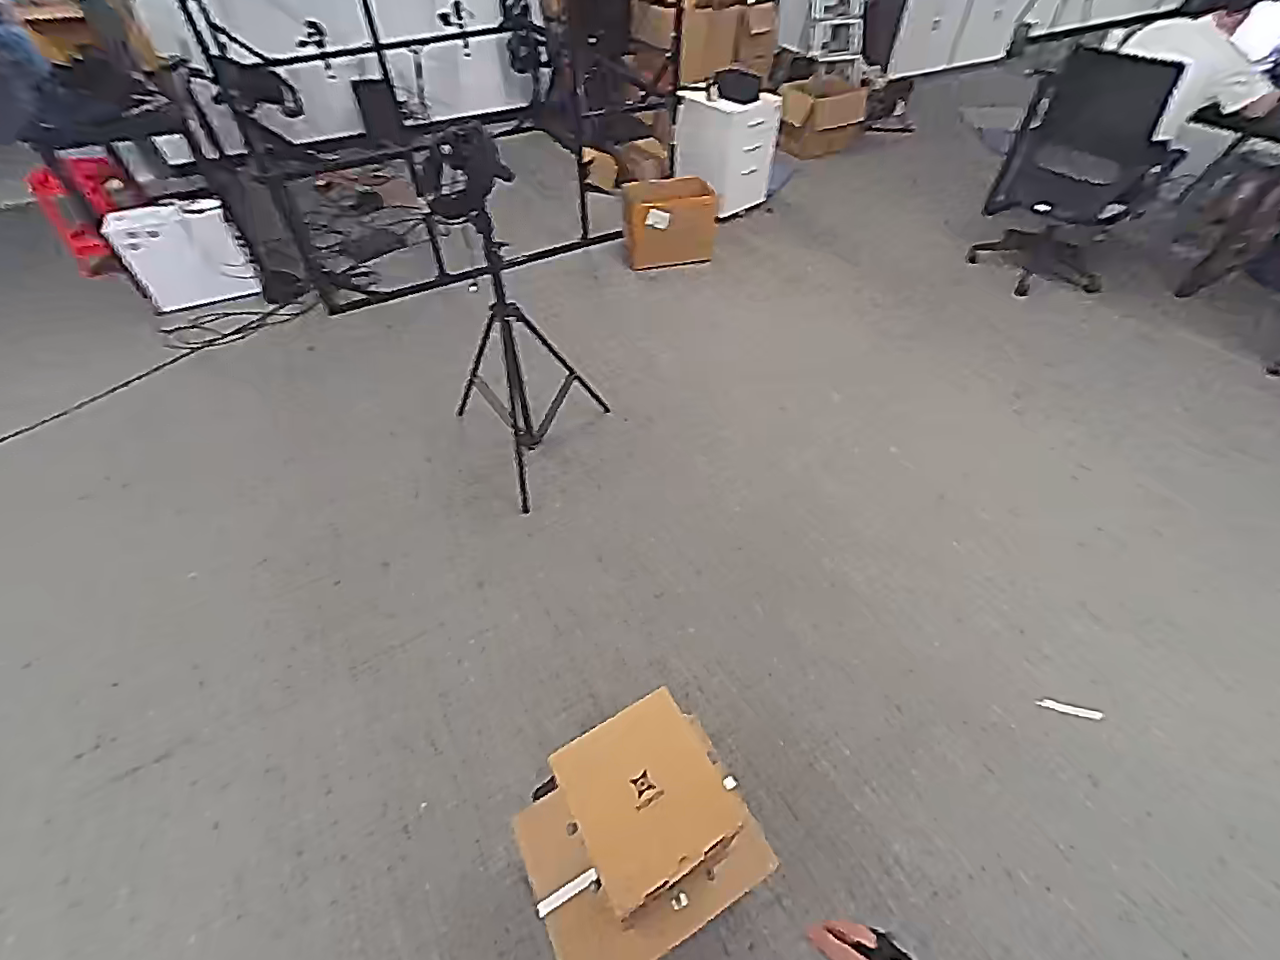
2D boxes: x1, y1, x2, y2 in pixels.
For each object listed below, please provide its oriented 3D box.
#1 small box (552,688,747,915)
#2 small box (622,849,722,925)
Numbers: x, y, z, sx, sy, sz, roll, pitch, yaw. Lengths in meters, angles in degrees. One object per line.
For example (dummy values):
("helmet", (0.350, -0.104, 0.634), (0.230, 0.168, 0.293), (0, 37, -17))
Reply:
("small box", (0.005, 0.403, 0.677), (0.168, 0.176, 0.179), (-25, 55, -20))
("small box", (0.016, 0.619, 0.922), (0.179, 0.176, 0.168), (-25, 55, -21))
